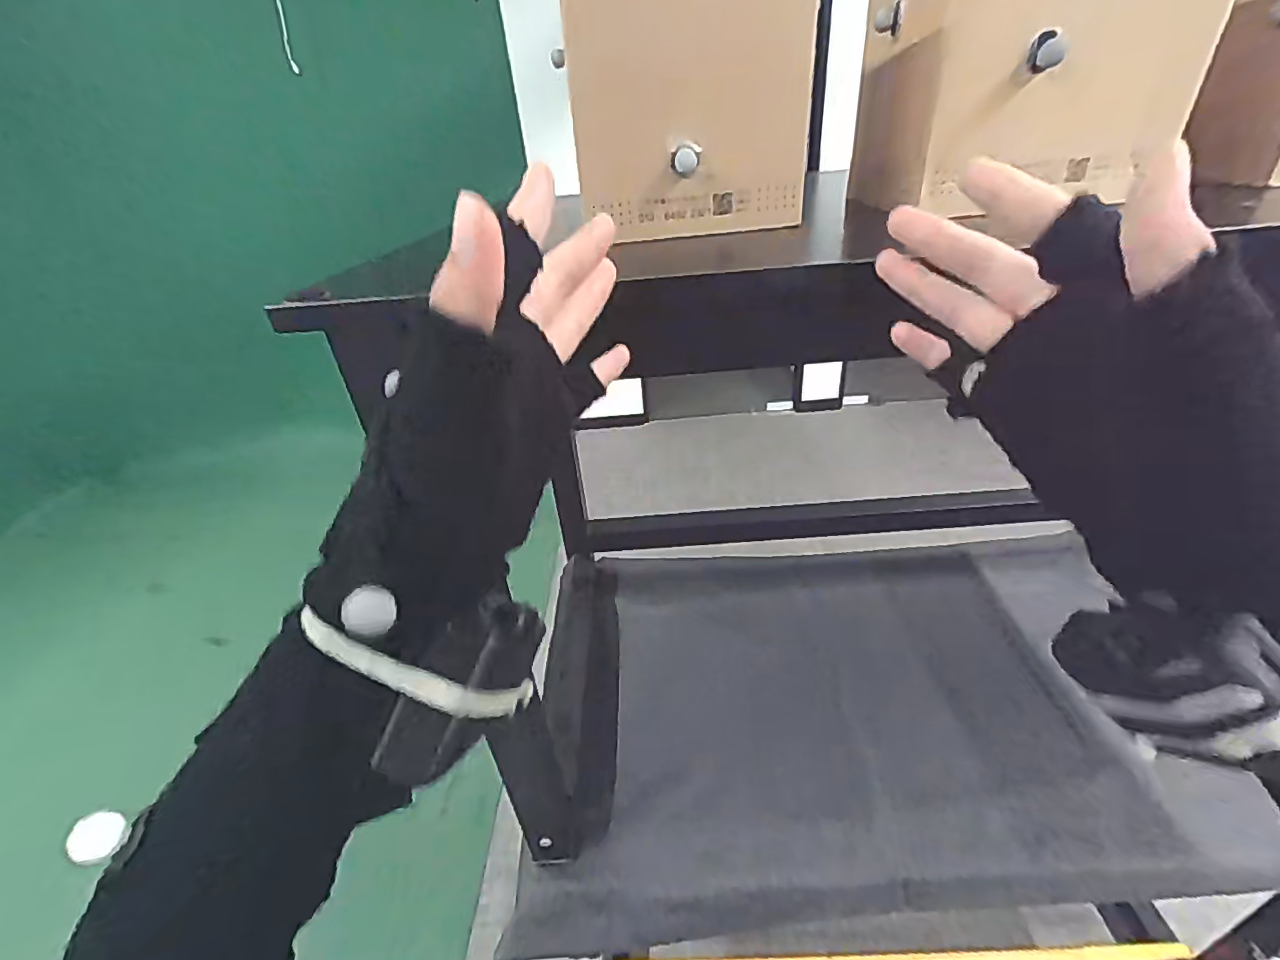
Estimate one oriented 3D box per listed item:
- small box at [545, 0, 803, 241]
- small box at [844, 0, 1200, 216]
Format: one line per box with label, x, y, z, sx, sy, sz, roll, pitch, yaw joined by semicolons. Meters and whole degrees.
small box;0.021;-0.297;0.436;0.168;0.176;0.179;-6;33;0
small box;0.264;-0.302;0.406;0.168;0.176;0.179;-3;32;5
